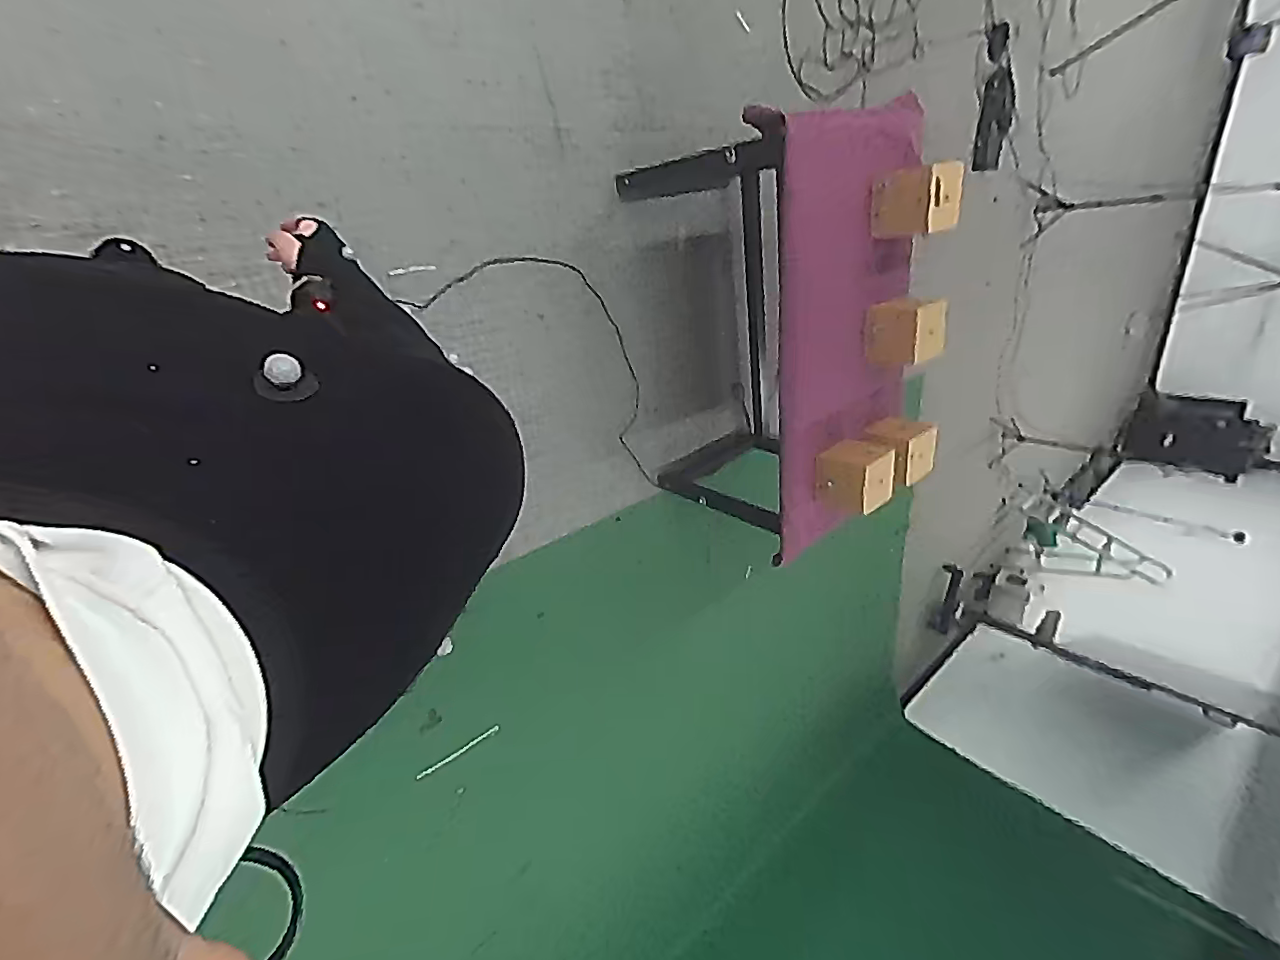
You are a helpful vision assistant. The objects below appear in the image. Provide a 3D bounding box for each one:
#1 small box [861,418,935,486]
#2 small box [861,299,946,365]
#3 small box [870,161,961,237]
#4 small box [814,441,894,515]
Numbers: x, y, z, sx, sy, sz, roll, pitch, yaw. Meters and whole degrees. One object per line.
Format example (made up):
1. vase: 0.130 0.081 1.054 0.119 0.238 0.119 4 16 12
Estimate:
1. small box: 0.869 -0.102 1.836 0.179 0.176 0.168 -25 119 -31
2. small box: 0.807 -0.461 1.664 0.179 0.176 0.168 -23 118 -32
3. small box: 0.765 -0.785 1.516 0.179 0.176 0.168 -26 120 -32
4. small box: 0.668 -0.014 1.693 0.179 0.176 0.168 -24 118 -34
